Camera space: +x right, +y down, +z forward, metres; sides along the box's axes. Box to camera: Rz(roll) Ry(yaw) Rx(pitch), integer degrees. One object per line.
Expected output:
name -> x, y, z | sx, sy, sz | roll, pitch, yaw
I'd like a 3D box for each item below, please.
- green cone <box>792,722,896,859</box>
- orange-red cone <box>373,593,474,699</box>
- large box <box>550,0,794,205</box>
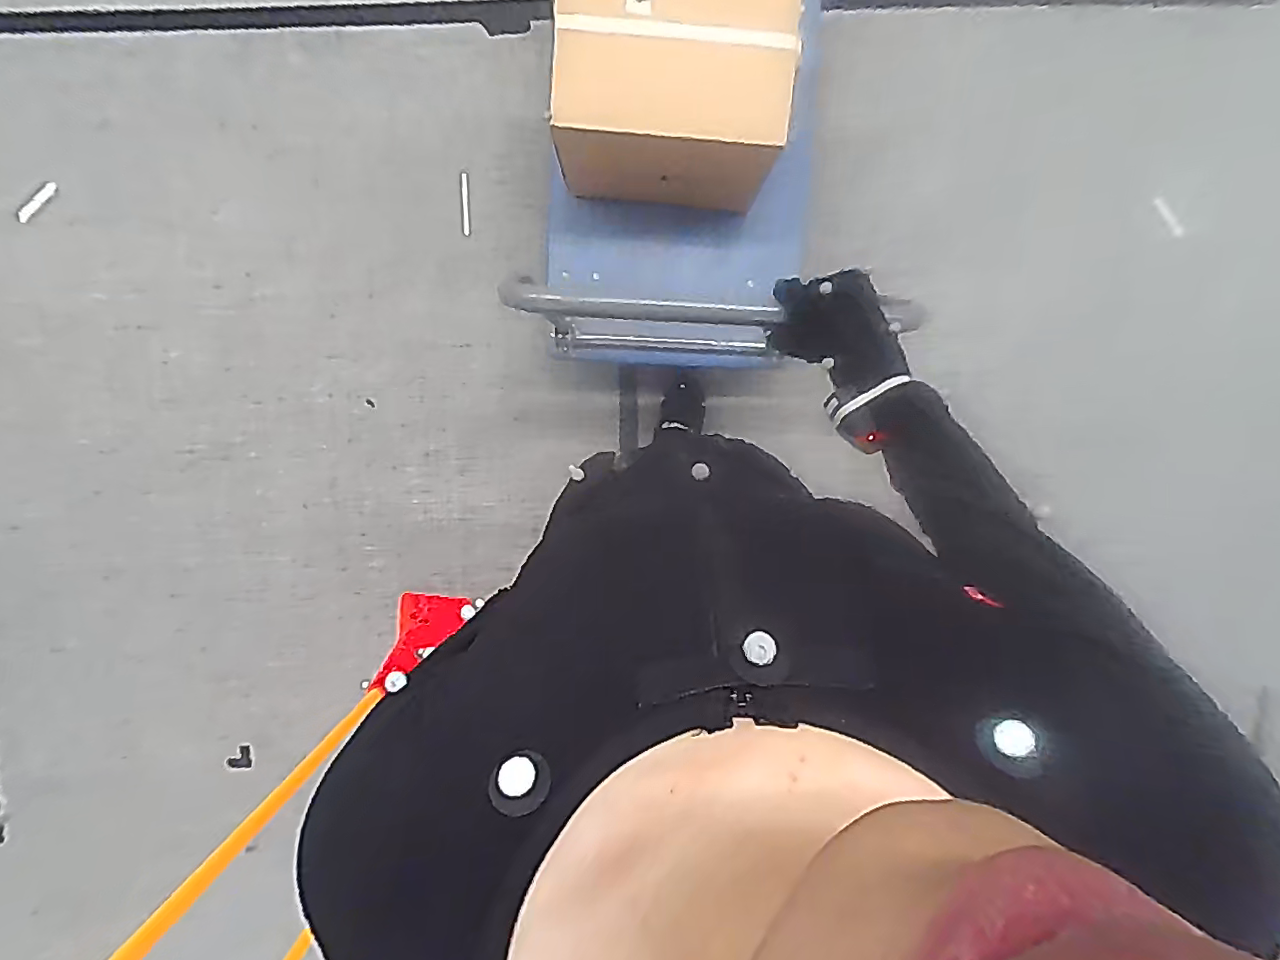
green cone -> 0.549, 0.818, 1.392 | 0.202, 0.368, 0.200 | 3, 97, -2
orange-red cone -> -0.566, 0.437, 1.343 | 0.198, 0.360, 0.199 | 7, 96, -2
large box -> 0.055, -0.755, 1.049 | 0.408, 0.320, 0.320 | 4, 97, 0
